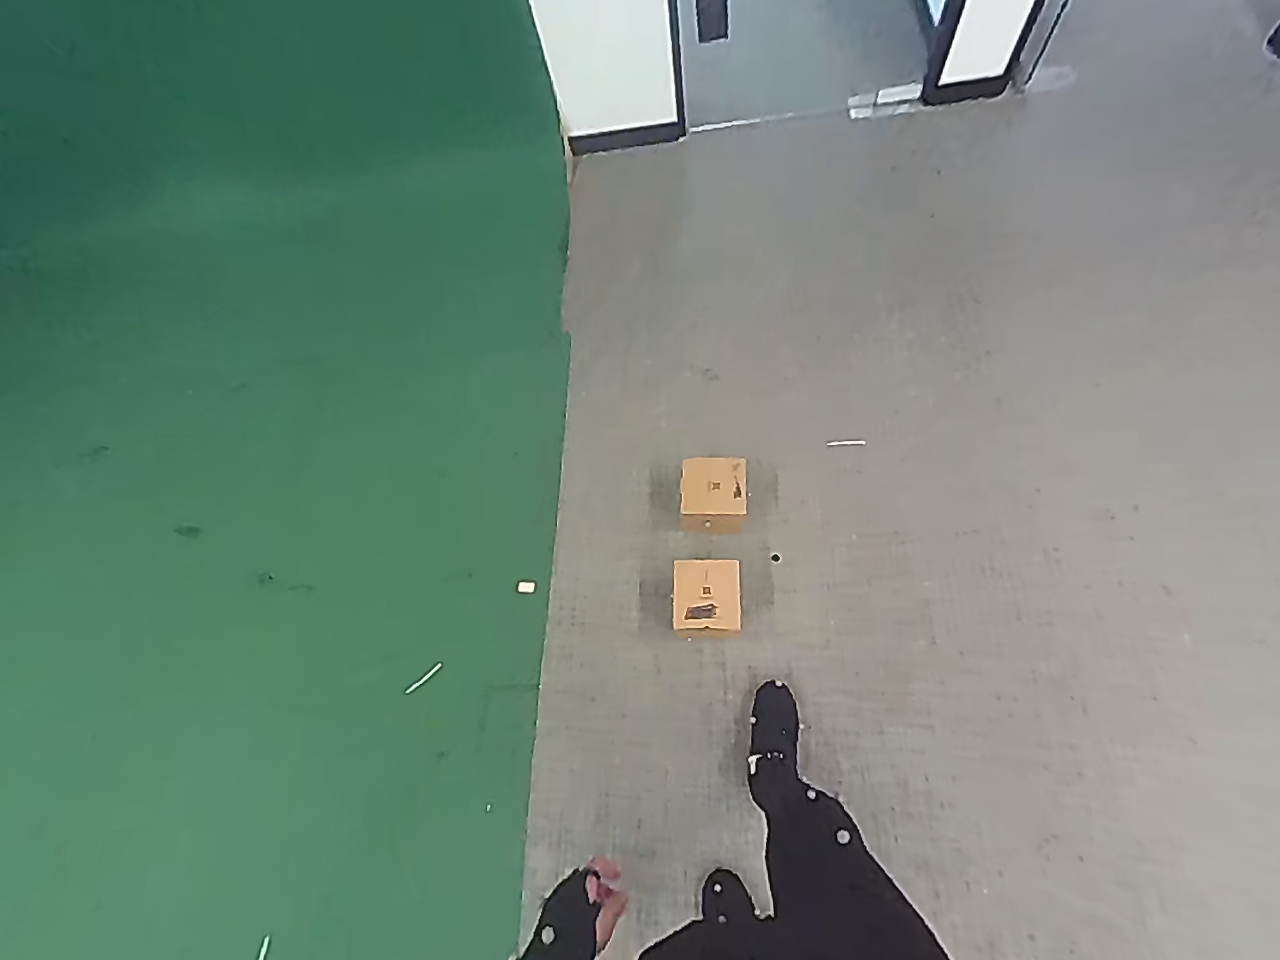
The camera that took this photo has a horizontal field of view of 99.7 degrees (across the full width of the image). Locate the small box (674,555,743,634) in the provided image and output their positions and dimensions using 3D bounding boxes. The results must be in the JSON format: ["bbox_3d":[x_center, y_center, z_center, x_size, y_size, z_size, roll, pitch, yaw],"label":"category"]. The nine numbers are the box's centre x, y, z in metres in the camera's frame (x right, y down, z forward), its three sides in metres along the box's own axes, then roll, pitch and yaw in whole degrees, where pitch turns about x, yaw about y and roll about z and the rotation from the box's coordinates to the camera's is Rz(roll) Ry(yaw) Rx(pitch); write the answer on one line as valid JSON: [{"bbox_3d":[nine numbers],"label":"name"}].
[{"bbox_3d":[0.182,0.300,1.402,0.168,0.176,0.179,-1,67,9],"label":"small box"}]

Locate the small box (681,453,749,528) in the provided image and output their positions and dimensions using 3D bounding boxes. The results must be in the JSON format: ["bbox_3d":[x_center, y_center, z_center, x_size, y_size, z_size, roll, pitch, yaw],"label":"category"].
[{"bbox_3d":[0.214,0.033,1.509,0.179,0.176,0.168,0,68,11],"label":"small box"}]
